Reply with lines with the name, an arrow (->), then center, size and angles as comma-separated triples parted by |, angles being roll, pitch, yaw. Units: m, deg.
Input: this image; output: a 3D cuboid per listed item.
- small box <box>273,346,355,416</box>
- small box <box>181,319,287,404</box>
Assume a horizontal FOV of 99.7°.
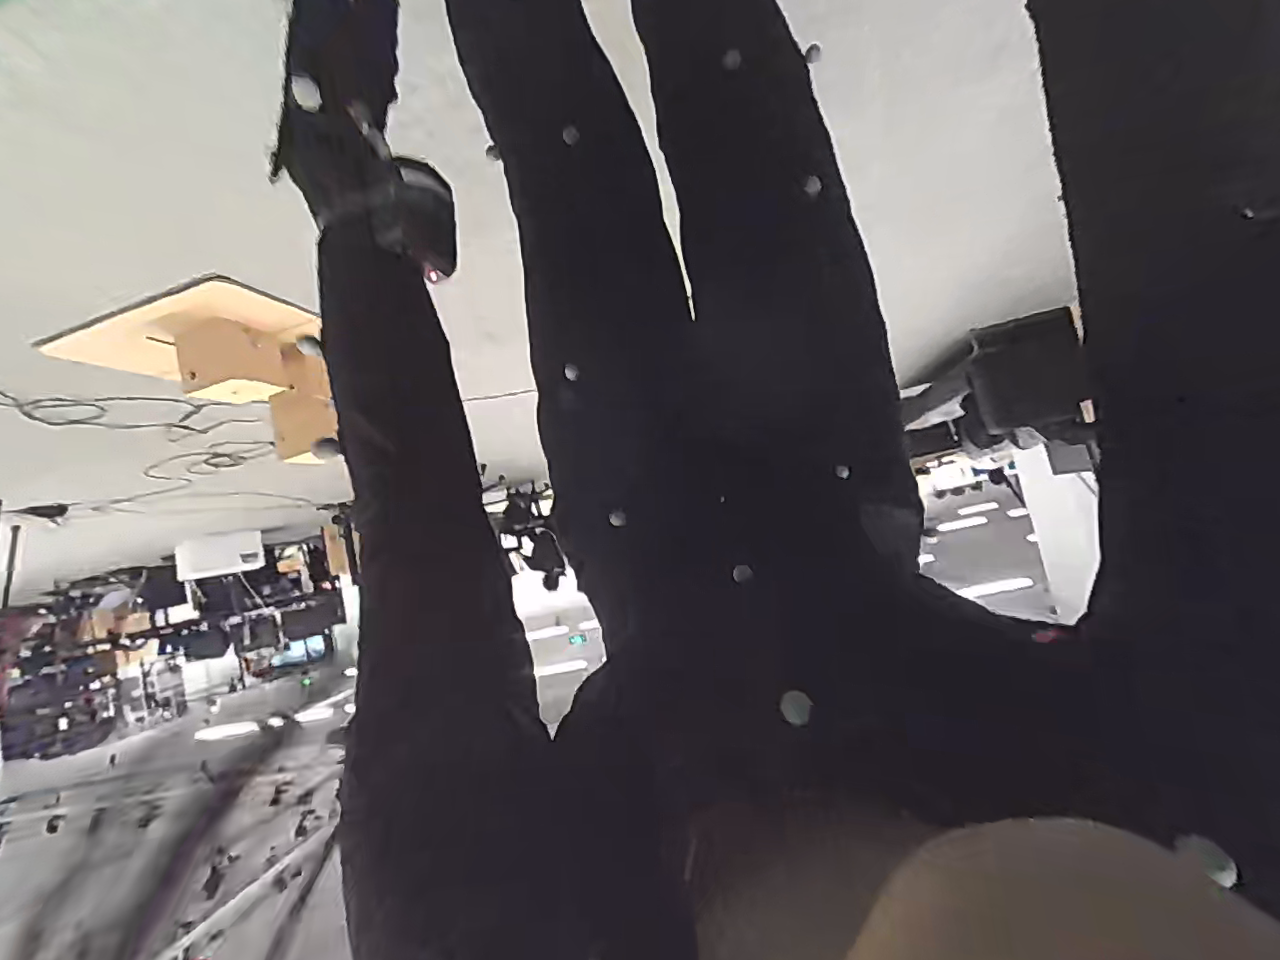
small box -> -1.069, -0.320, 1.751 | 0.179, 0.176, 0.168 | -14, 175, 16
small box -> -1.135, -0.328, 1.509 | 0.179, 0.176, 0.168 | -14, 176, 12
